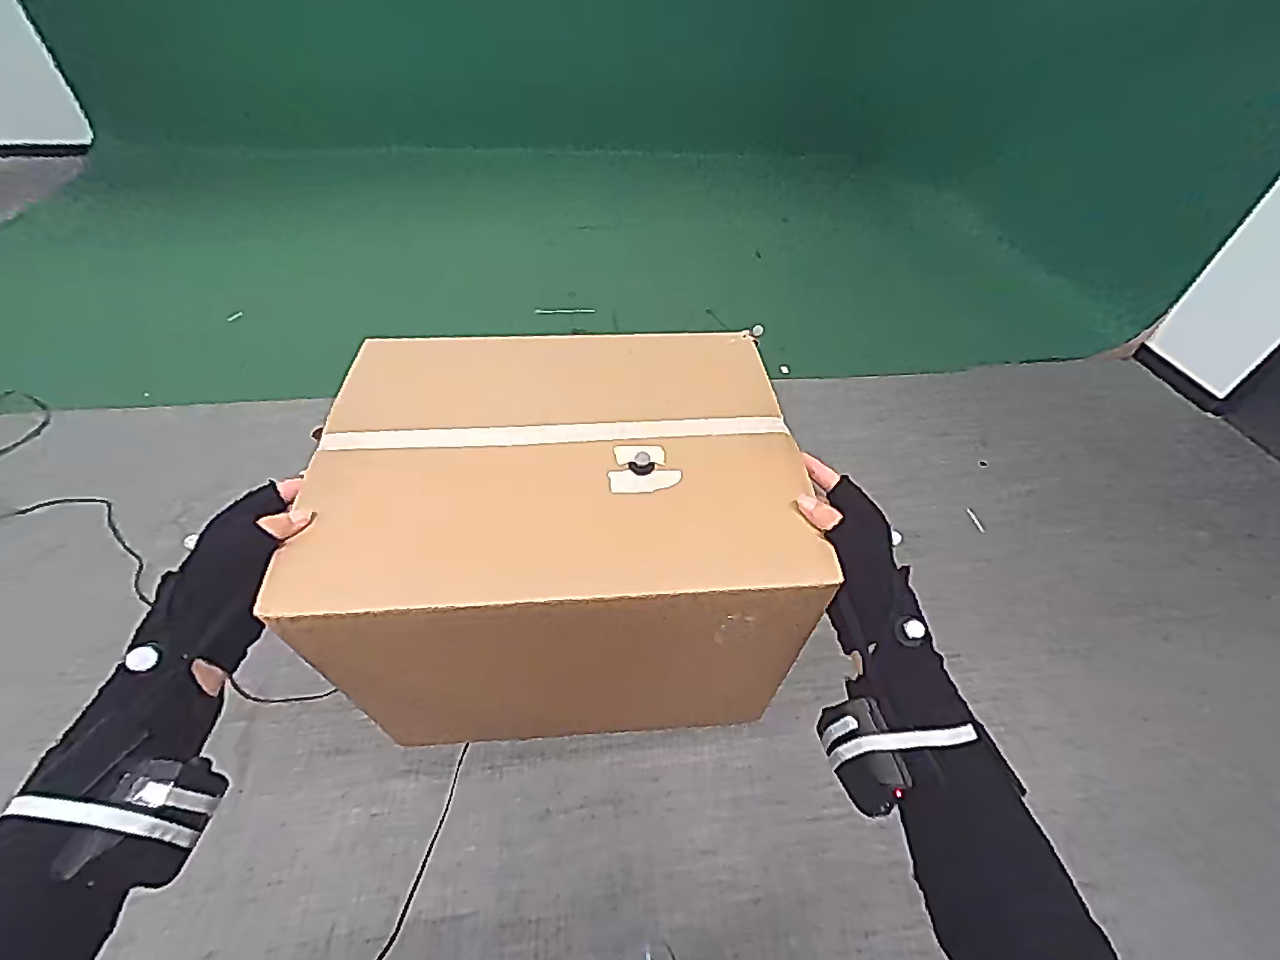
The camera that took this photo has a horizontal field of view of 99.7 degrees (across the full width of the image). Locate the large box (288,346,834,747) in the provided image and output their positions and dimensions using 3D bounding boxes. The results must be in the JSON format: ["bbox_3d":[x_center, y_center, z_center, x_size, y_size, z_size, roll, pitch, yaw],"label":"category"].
[{"bbox_3d":[-0.070,0.071,0.597,0.408,0.320,0.320,-2,49,-5],"label":"large box"}]
